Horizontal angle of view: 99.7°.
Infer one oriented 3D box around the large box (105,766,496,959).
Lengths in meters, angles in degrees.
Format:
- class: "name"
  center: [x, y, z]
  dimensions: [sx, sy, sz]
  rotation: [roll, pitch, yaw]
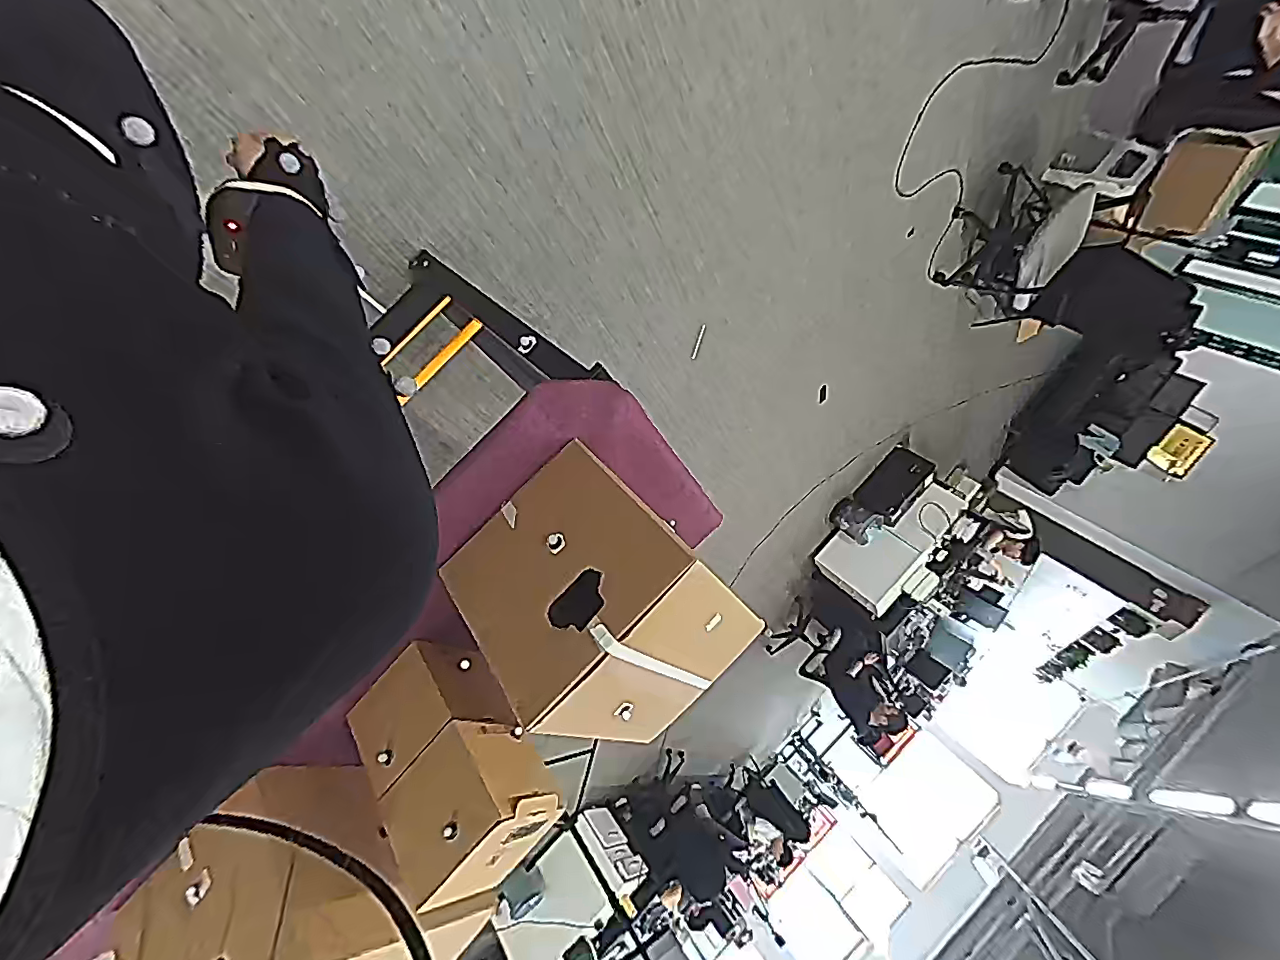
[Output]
- class: "large box"
  center: [-0.533, 0.716, 0.894]
  dimensions: [0.320, 0.320, 0.408]
  rotation: [-46, 146, -3]
